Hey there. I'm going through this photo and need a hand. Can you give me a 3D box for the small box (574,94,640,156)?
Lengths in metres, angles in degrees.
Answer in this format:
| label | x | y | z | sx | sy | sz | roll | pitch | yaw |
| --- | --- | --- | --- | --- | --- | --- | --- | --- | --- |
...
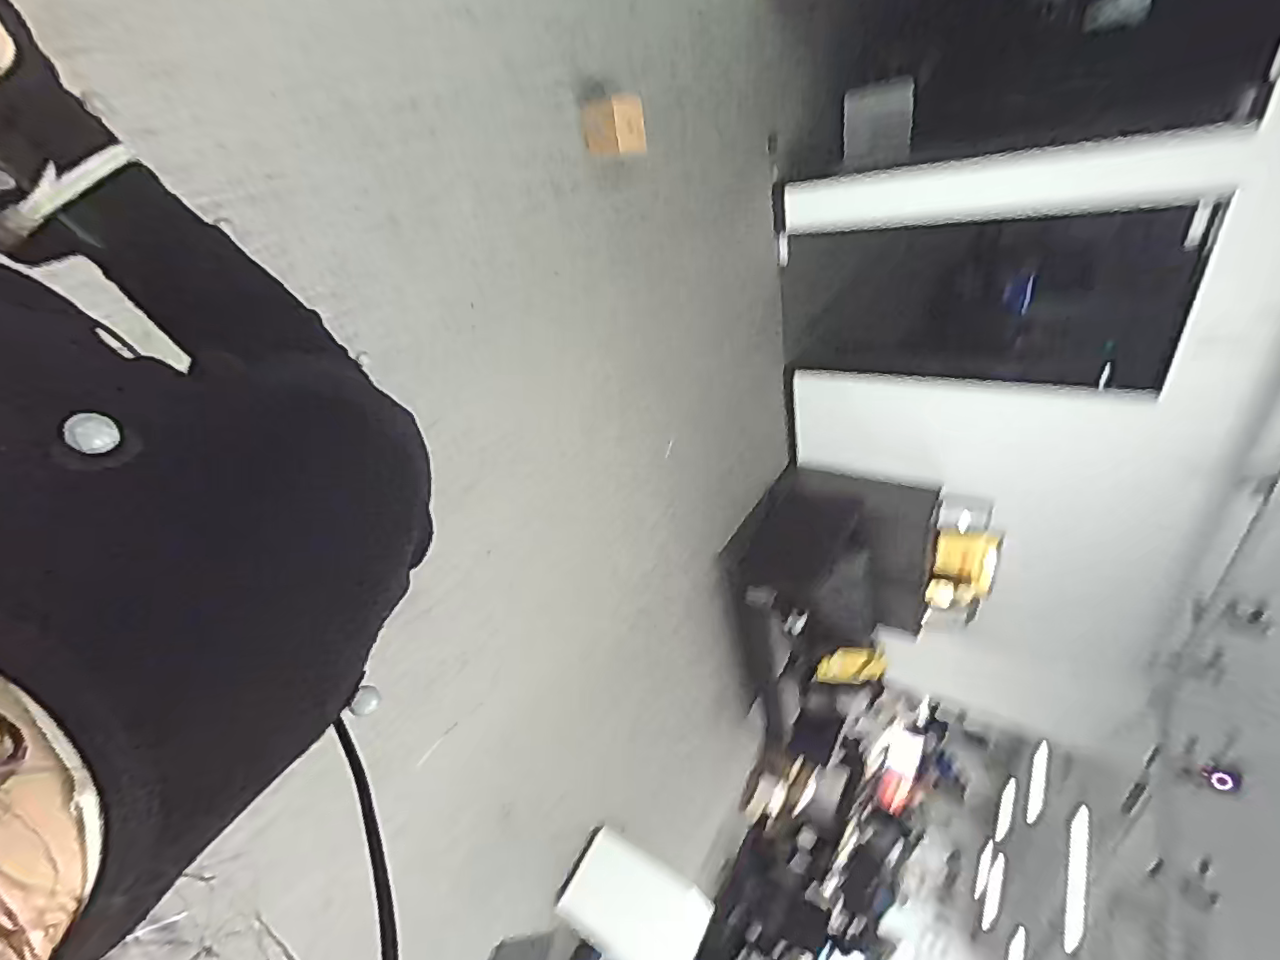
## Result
| label | x | y | z | sx | sy | sz | roll | pitch | yaw |
| --- | --- | --- | --- | --- | --- | --- | --- | --- | --- |
| small box | -0.126 | -1.298 | 1.983 | 0.179 | 0.176 | 0.168 | -38 | 131 | -43 |
